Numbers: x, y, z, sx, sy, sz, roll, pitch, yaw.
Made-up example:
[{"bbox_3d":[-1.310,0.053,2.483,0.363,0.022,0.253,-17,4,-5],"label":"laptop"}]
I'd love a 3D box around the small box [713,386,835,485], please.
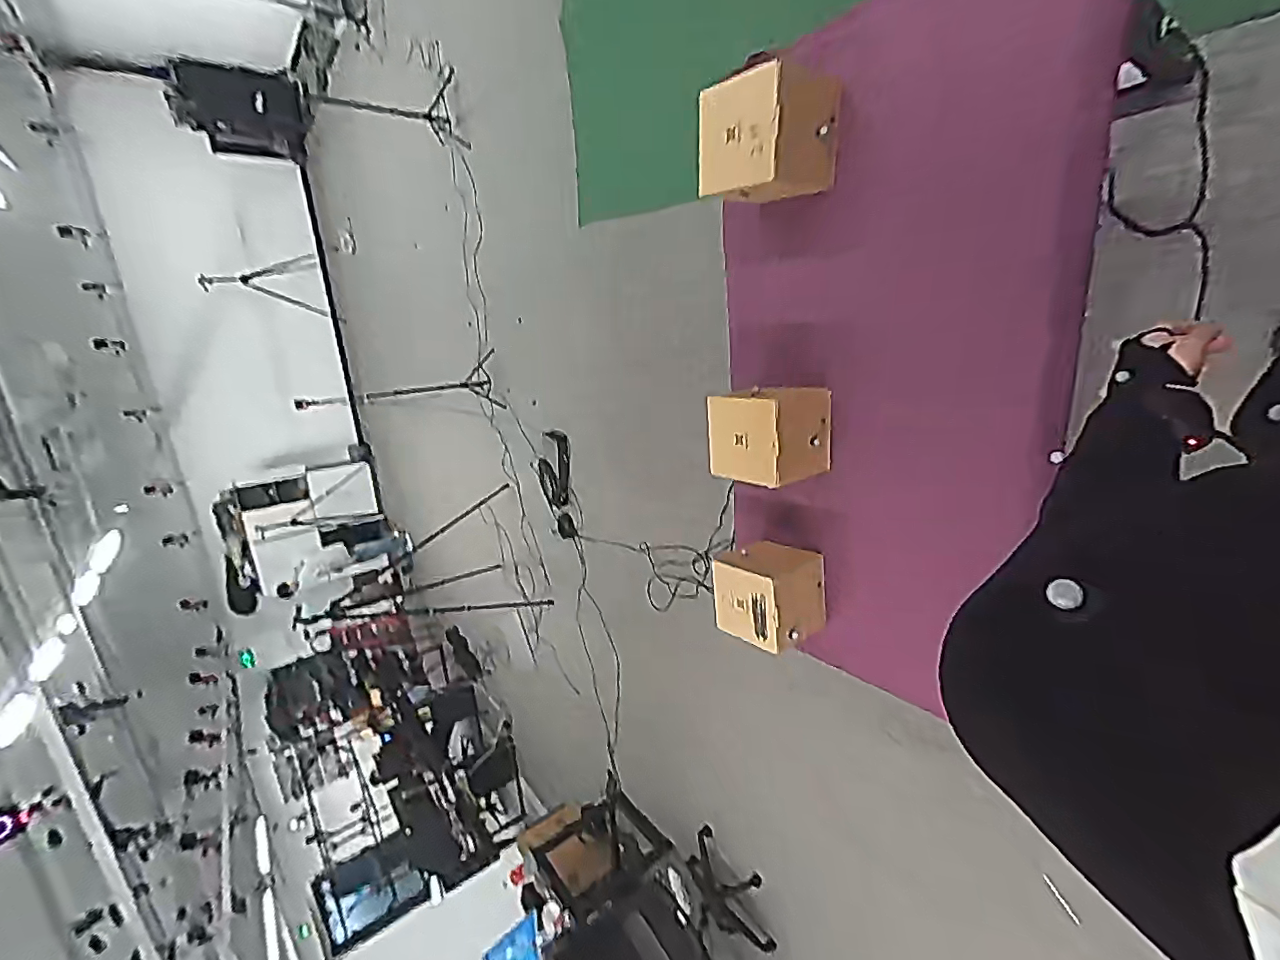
[{"bbox_3d":[0.271,-0.098,1.099,0.179,0.176,0.168,13,113,51],"label":"small box"}]

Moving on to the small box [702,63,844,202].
[{"bbox_3d":[0.230,-0.597,0.955,0.179,0.176,0.168,22,121,49],"label":"small box"}]
